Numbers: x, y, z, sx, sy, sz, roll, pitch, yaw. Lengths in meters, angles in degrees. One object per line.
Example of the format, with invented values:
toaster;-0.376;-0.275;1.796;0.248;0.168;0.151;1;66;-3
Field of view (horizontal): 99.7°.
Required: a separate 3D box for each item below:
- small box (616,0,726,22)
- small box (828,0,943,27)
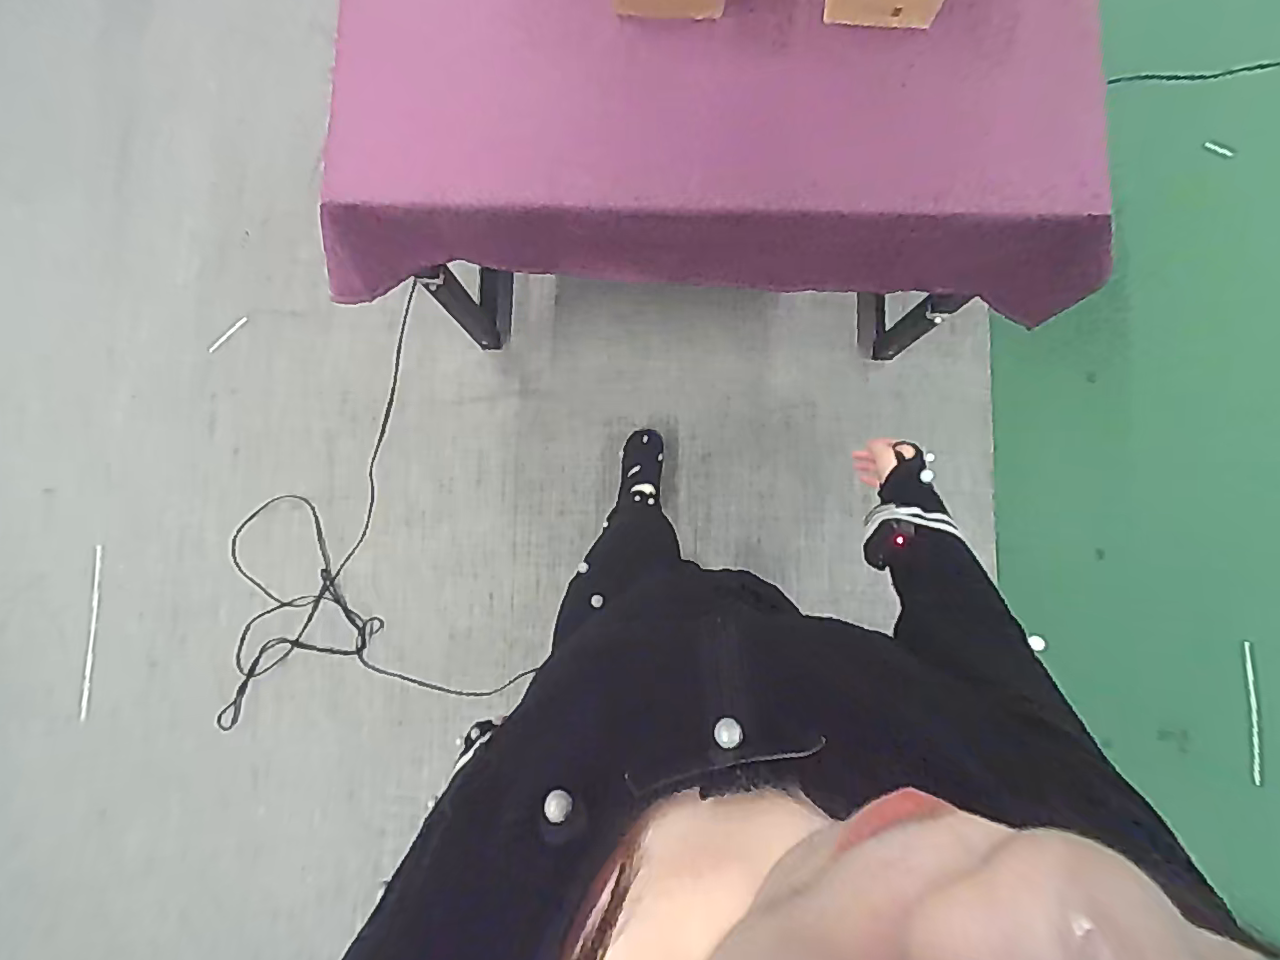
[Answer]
small box;0.051;-0.819;0.789;0.179;0.176;0.168;5;85;2
small box;0.378;-0.801;0.776;0.168;0.176;0.179;5;84;3
